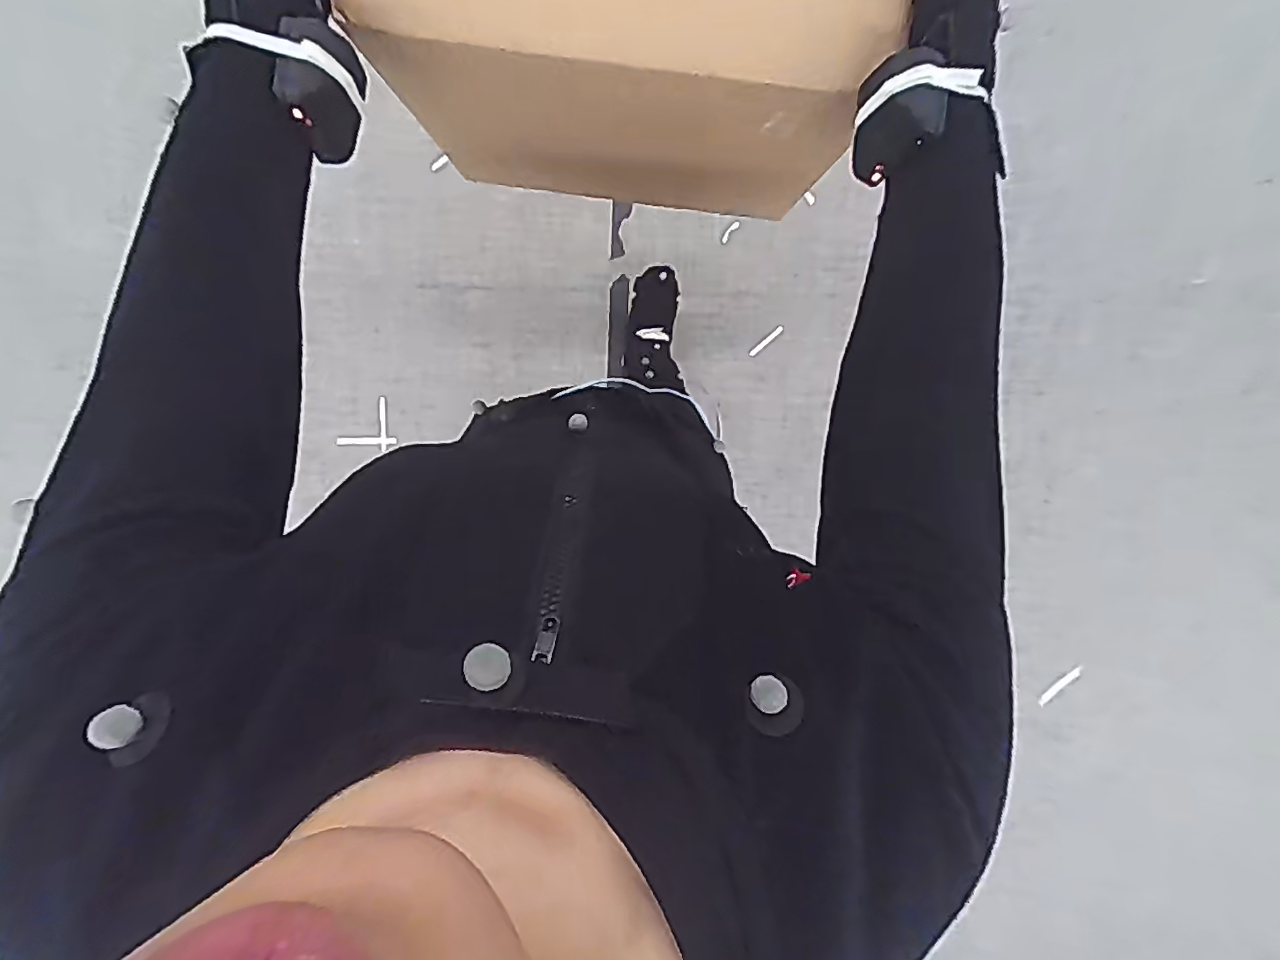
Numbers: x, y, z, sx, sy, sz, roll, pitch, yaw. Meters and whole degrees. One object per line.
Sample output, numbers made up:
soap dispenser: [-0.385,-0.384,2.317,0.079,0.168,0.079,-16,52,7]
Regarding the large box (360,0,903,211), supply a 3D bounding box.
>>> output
large box: [0.002,-0.485,0.520,0.408,0.320,0.320,6,102,-3]
